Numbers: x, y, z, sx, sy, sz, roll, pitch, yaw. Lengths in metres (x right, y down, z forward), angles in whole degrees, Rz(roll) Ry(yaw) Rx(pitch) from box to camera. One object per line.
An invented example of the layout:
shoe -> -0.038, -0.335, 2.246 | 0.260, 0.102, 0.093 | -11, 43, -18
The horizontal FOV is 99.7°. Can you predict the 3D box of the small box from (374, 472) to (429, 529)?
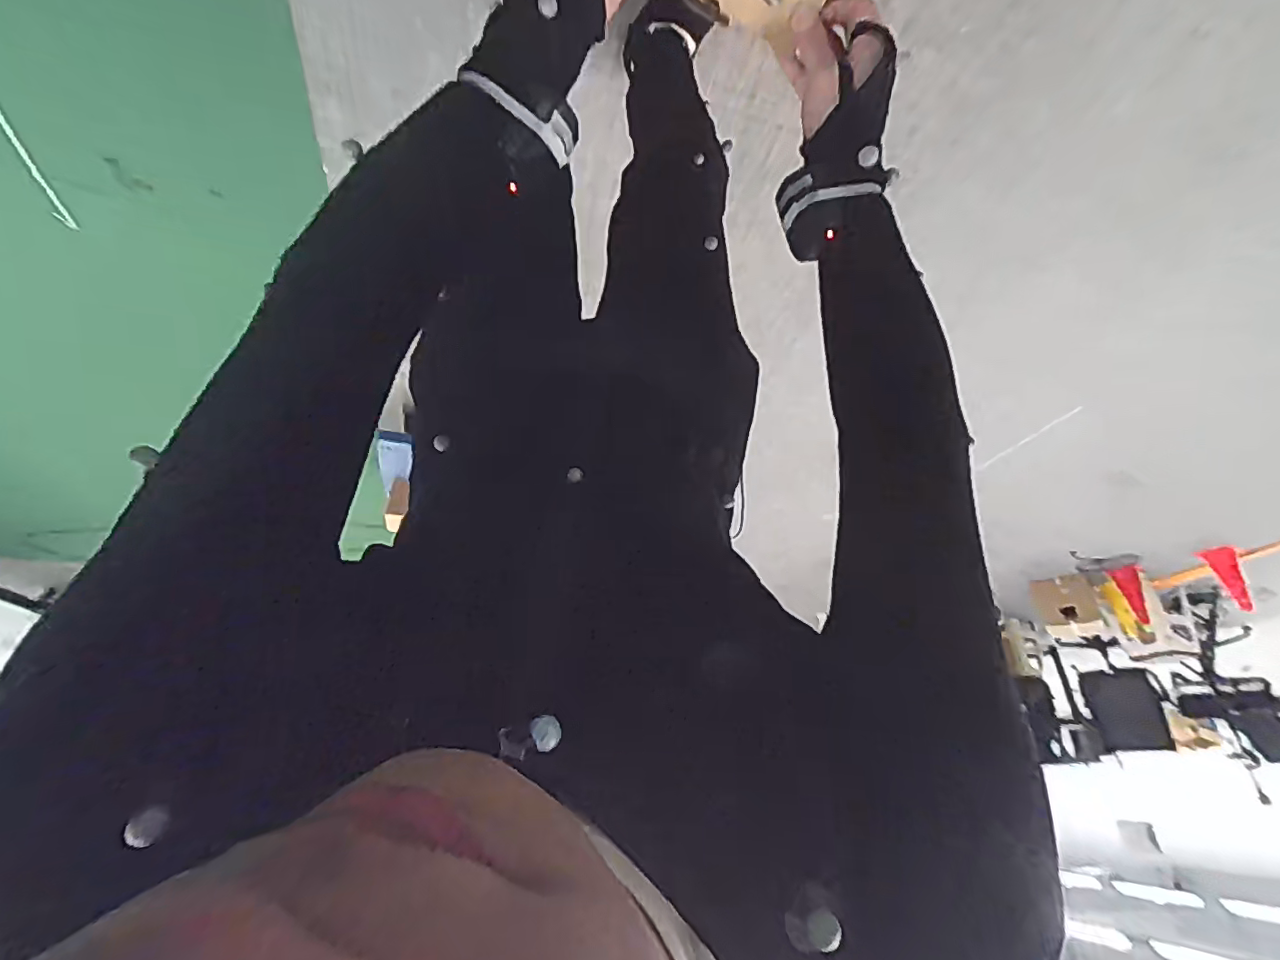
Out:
small box -> -0.962, 0.084, 2.192 | 0.179, 0.176, 0.168 | 10, 149, -17
